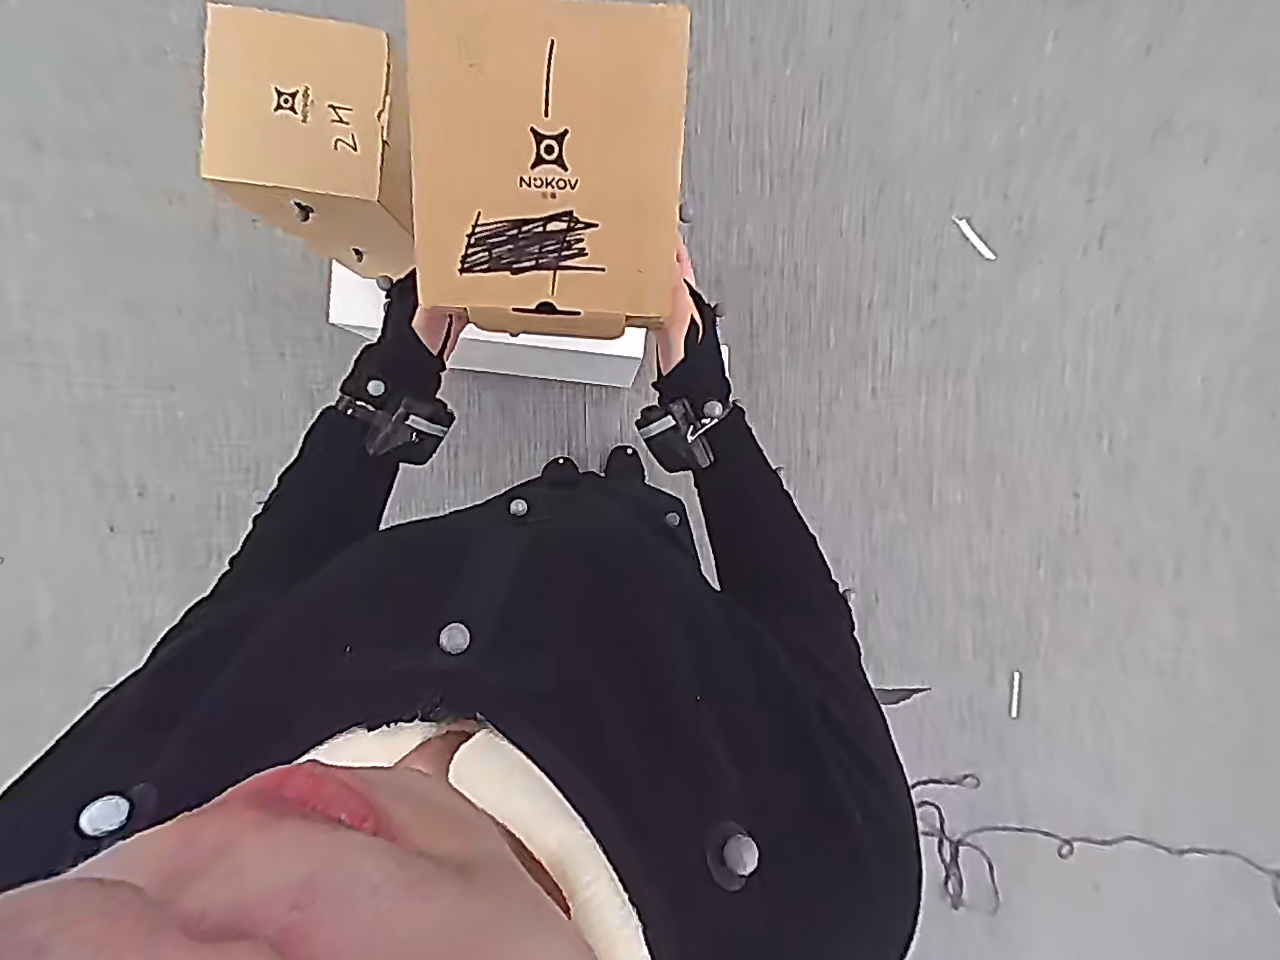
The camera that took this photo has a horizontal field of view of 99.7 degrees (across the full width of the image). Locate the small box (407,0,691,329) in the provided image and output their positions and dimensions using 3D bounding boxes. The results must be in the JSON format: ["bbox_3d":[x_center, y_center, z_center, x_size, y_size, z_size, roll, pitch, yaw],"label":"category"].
[{"bbox_3d":[-0.056,-0.208,0.406,0.168,0.176,0.179,3,104,-1],"label":"small box"}]

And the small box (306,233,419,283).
[{"bbox_3d":[-0.349,-0.396,0.773,0.168,0.176,0.179,7,94,-3],"label":"small box"}]

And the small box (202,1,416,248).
[{"bbox_3d":[-0.340,-0.378,0.610,0.179,0.176,0.168,6,95,-4],"label":"small box"}]
